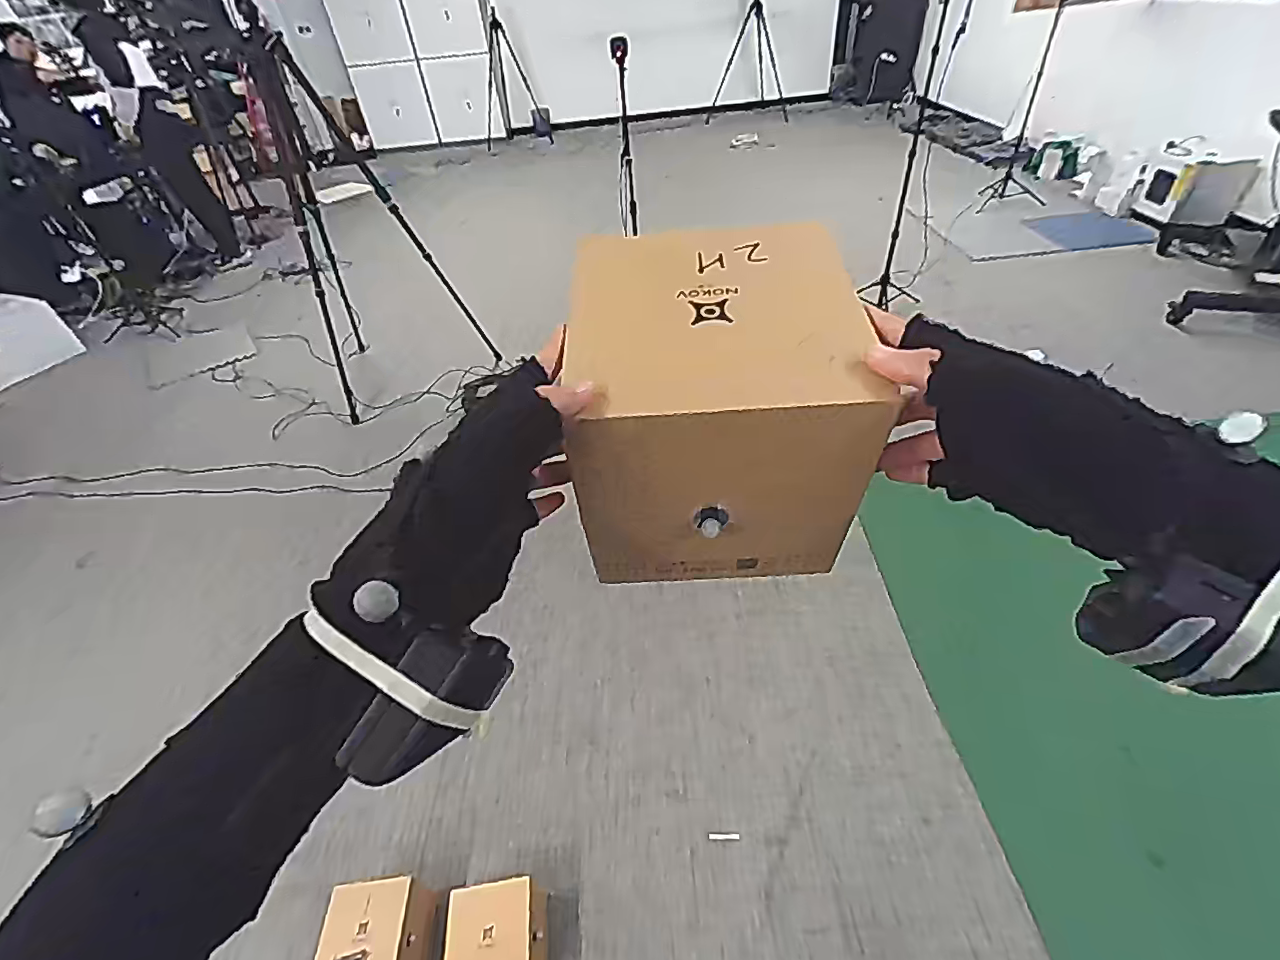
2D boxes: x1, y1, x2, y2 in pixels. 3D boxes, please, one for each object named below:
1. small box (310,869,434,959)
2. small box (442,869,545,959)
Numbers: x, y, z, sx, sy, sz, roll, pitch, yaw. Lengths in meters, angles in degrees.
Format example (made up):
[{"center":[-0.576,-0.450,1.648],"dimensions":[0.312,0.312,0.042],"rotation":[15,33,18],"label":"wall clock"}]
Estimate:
[{"center":[-0.547,0.938,1.122],"dimensions":[0.168,0.176,0.179],"rotation":[-7,43,0],"label":"small box"},{"center":[-0.293,0.930,1.104],"dimensions":[0.168,0.176,0.179],"rotation":[-9,44,-2],"label":"small box"}]
